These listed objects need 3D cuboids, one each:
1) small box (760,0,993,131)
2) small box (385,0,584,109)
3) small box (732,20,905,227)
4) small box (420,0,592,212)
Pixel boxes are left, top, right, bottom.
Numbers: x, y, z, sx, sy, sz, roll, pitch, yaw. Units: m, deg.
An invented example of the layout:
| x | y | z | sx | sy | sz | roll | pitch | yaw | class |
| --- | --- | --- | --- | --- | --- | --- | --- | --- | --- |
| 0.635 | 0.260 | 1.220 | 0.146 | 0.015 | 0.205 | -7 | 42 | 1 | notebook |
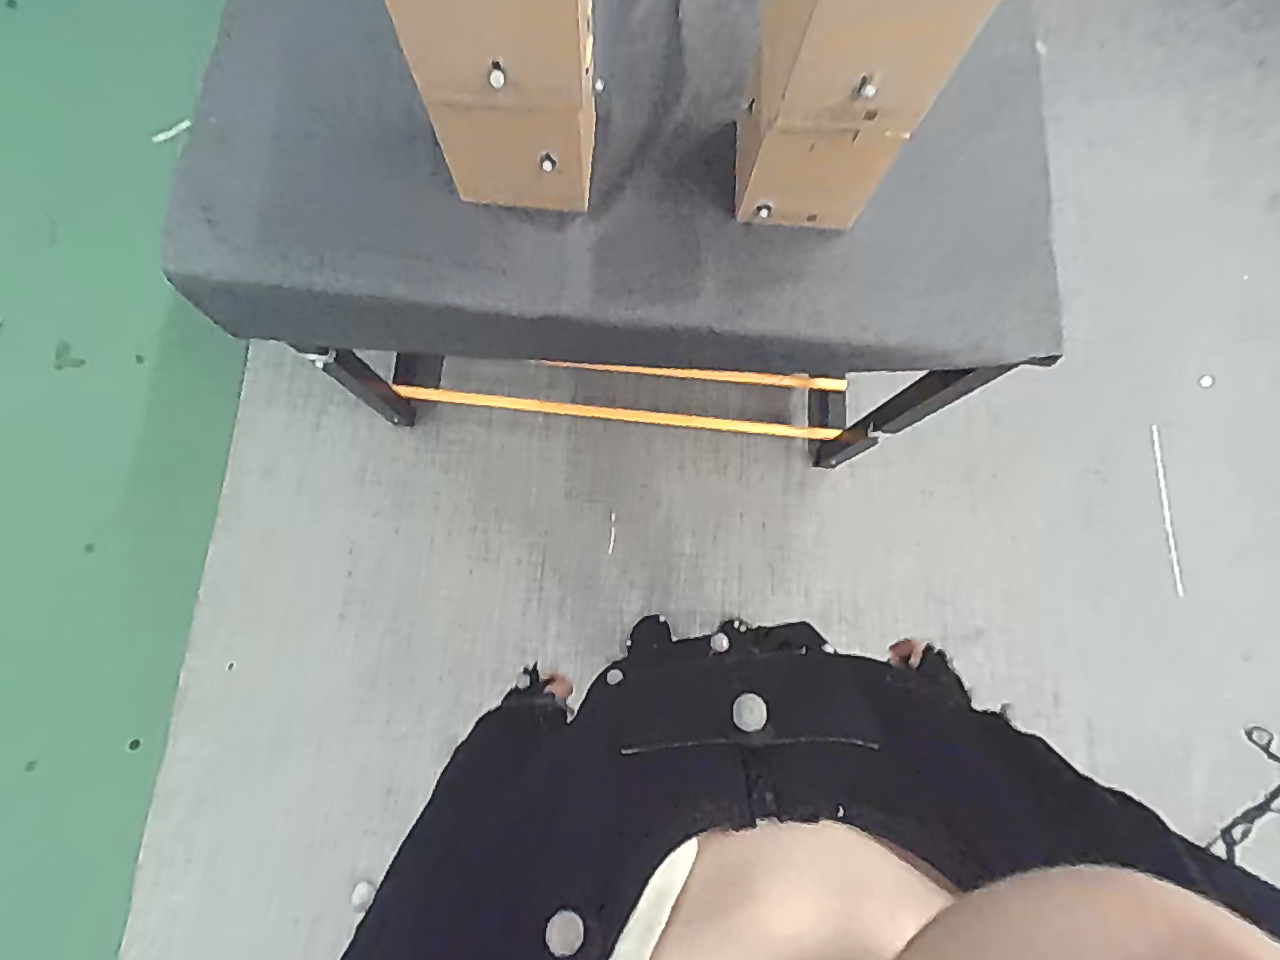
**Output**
| x | y | z | sx | sy | sz | roll | pitch | yaw | class |
| --- | --- | --- | --- | --- | --- | --- | --- | --- | --- |
| 0.226 | -0.494 | 0.544 | 0.168 | 0.176 | 0.179 | -2 | 78 | -3 | small box |
| -0.144 | -0.499 | 0.524 | 0.179 | 0.176 | 0.168 | 1 | 76 | -4 | small box |
| 0.220 | -0.460 | 0.705 | 0.168 | 0.176 | 0.179 | 3 | 77 | -3 | small box |
| -0.153 | -0.468 | 0.686 | 0.179 | 0.176 | 0.168 | 3 | 76 | -2 | small box |
